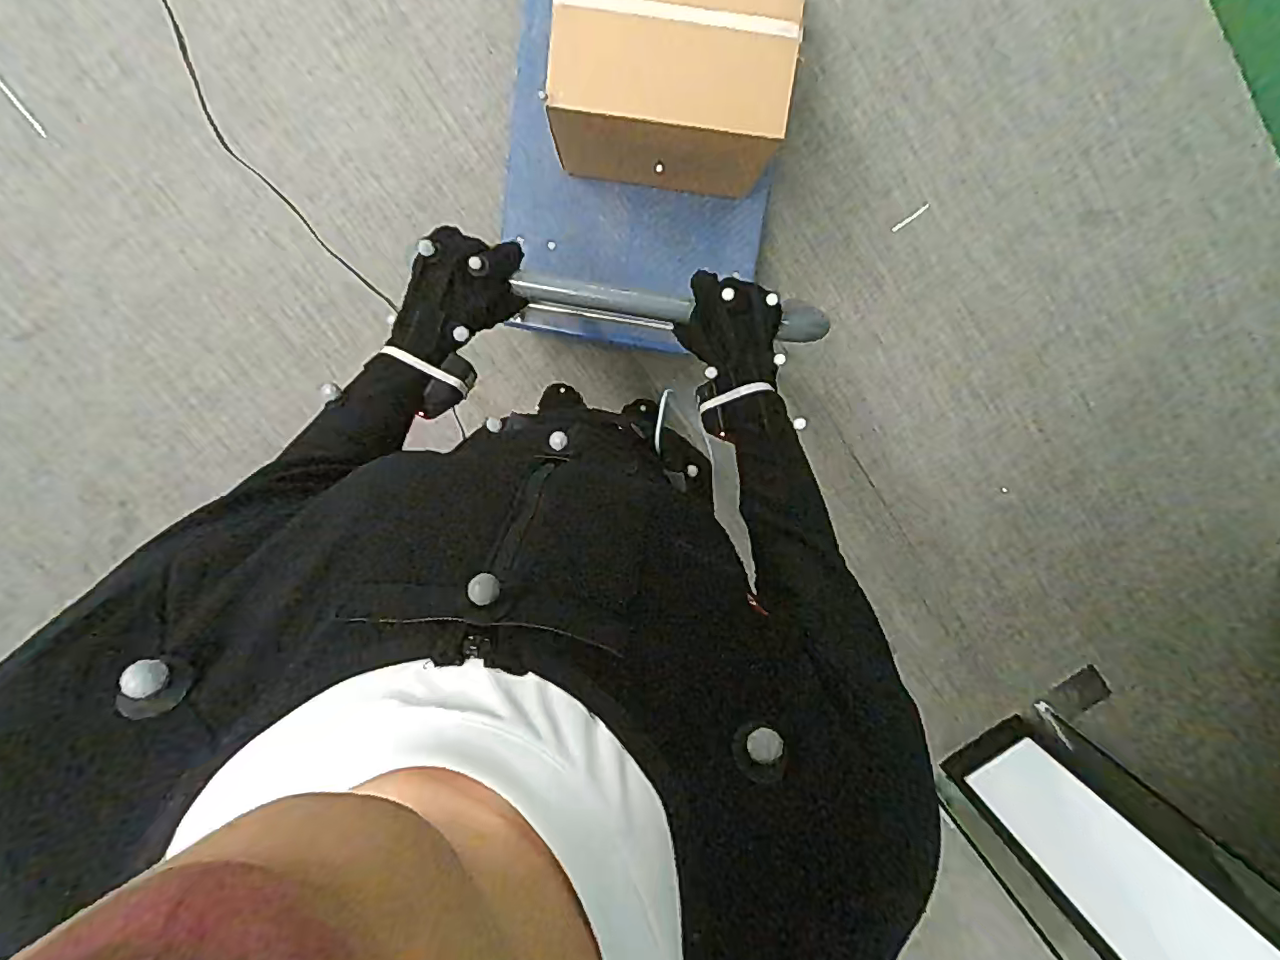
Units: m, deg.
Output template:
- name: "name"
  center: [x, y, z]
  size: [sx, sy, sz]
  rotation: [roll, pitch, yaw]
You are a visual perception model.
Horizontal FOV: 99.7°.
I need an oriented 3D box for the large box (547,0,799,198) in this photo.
- name: "large box"
  center: [0.054, -0.765, 1.027]
  size: [0.408, 0.320, 0.320]
  rotation: [6, 99, -3]
